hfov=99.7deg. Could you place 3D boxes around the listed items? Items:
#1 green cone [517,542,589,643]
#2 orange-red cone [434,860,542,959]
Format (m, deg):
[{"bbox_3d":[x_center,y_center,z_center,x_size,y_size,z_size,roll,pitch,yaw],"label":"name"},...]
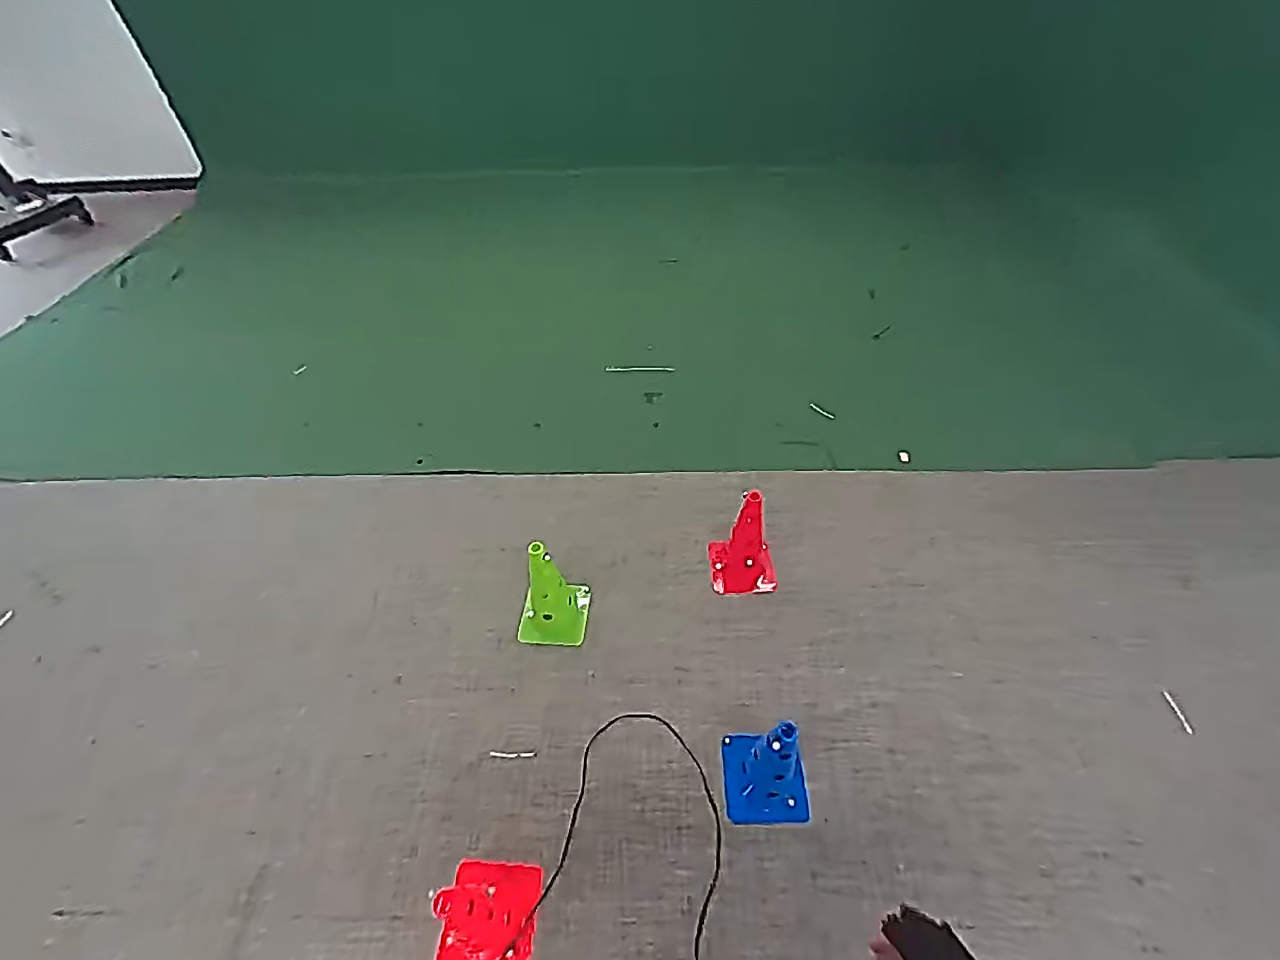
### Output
[{"bbox_3d":[-0.270,0.291,1.535,0.200,0.368,0.202,1,49,4],"label":"green cone"},{"bbox_3d":[-0.327,0.834,1.048,0.198,0.360,0.199,4,47,5],"label":"orange-red cone"}]
